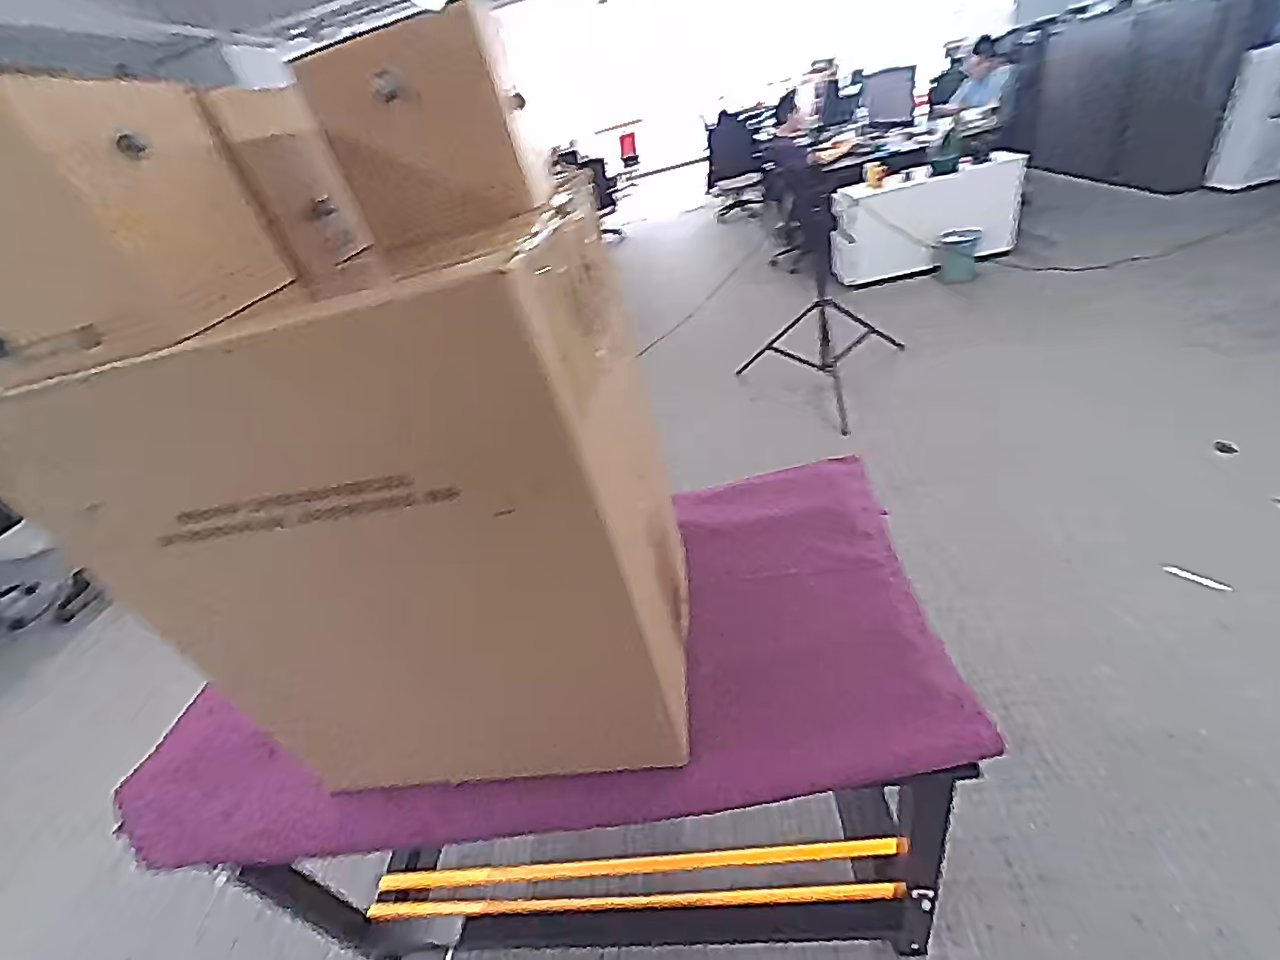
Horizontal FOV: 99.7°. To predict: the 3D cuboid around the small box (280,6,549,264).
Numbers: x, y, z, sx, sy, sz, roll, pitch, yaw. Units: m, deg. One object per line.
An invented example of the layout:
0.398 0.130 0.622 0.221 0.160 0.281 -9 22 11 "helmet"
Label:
-0.206 -0.347 0.559 0.179 0.176 0.168 -14 34 7 "small box"
